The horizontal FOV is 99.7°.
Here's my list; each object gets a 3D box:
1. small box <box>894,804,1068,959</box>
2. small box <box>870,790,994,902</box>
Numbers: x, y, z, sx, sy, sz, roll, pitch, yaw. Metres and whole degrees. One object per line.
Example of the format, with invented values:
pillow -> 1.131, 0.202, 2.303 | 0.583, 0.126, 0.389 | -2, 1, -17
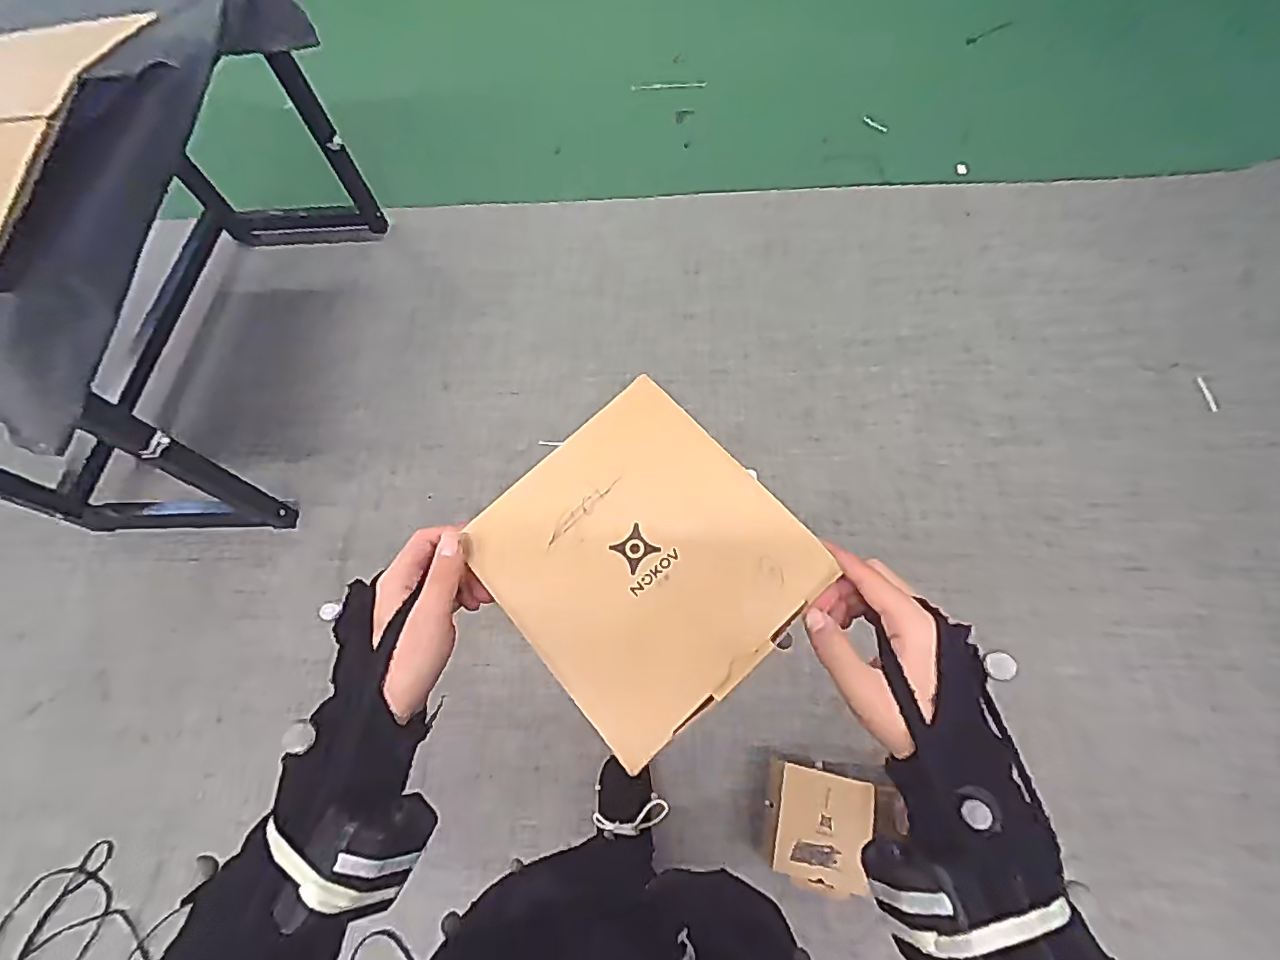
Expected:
small box -> 0.519, 0.627, 0.850 | 0.168, 0.176, 0.179 | 3, 64, 5
small box -> 0.541, 0.685, 1.002 | 0.168, 0.176, 0.179 | 3, 64, 5
